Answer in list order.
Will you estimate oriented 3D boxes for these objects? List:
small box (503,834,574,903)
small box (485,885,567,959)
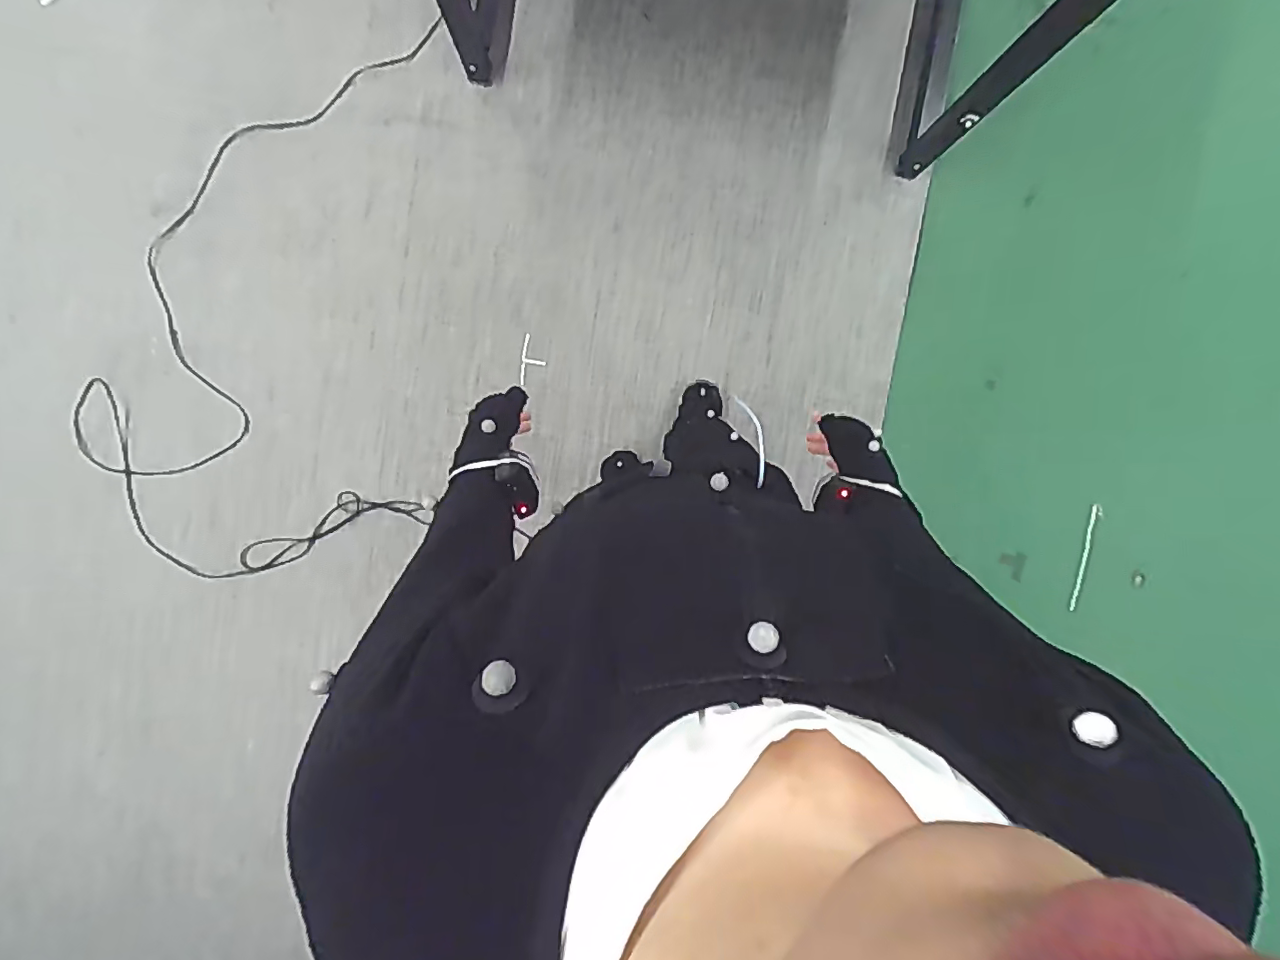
[{"bbox_3d":[-0.271,1.079,1.418,0.168,0.176,0.179,9,95,-3],"label":"small box"},{"bbox_3d":[-0.265,1.097,1.256,0.168,0.176,0.179,7,95,-3],"label":"small box"}]
